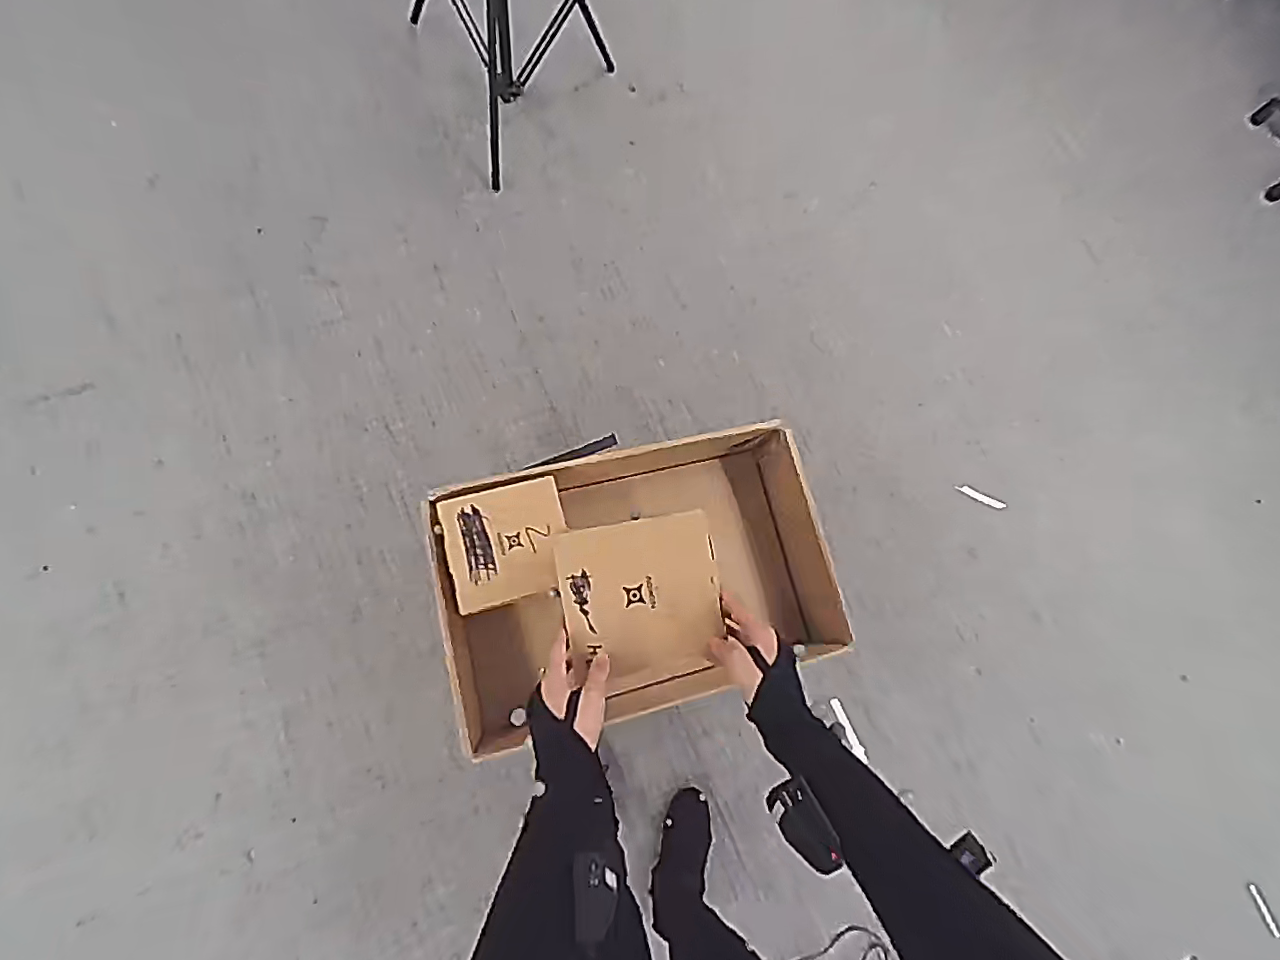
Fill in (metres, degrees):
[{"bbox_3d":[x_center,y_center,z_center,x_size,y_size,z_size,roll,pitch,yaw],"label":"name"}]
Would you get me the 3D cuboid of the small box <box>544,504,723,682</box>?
[{"bbox_3d":[-0.019,0.122,0.654,0.179,0.176,0.168,-10,87,-10],"label":"small box"}]
